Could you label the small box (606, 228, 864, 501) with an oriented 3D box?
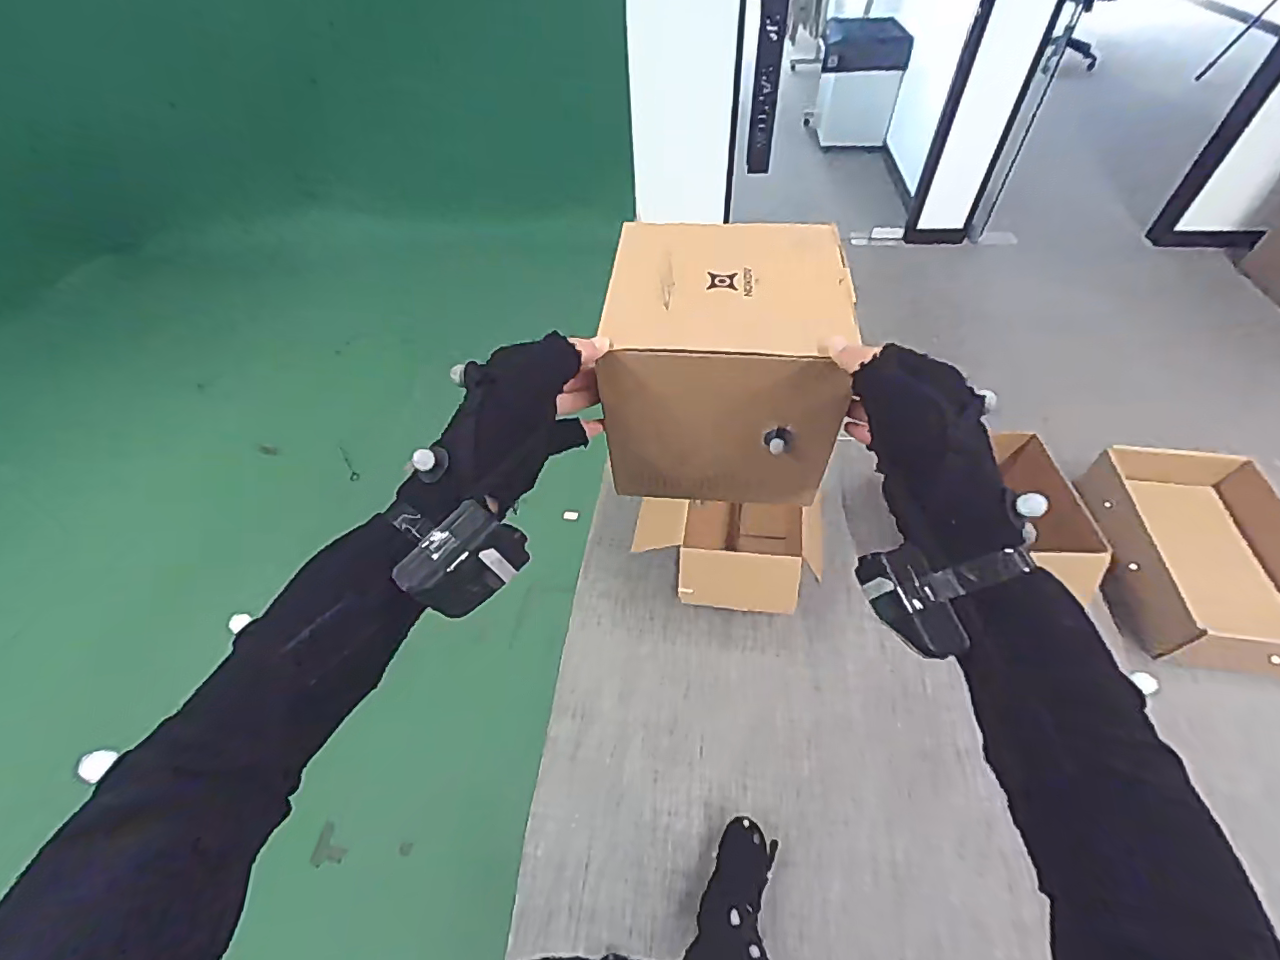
[{"bbox_3d":[0.074,-0.096,0.474,0.179,0.176,0.168,4,52,5],"label":"small box"}]
